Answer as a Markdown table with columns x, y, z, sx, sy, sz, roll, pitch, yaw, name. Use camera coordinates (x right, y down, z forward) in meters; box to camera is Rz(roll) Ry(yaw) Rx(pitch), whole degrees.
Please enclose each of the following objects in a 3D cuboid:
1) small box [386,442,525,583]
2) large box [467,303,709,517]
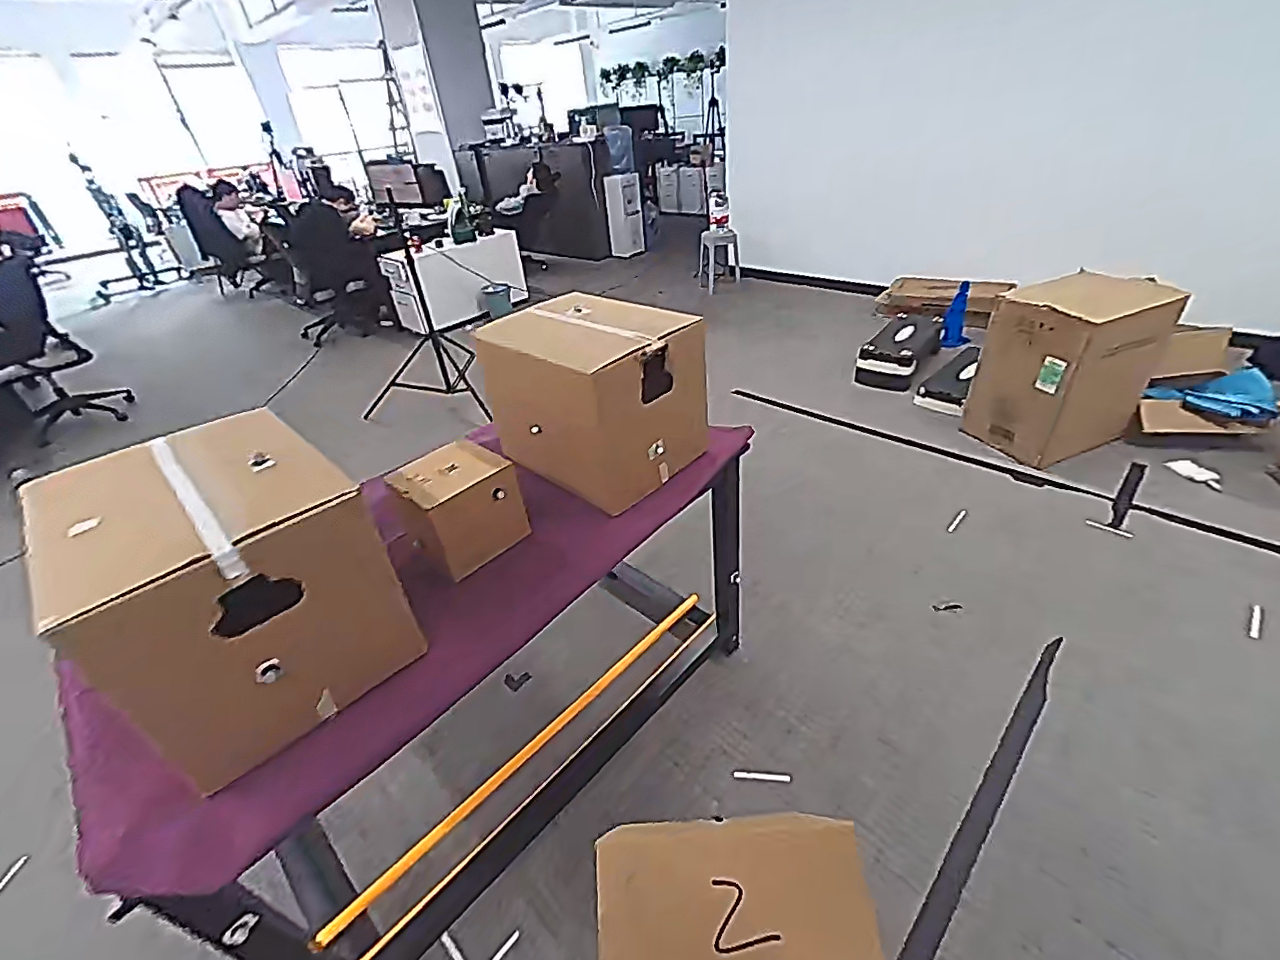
| x | y | z | sx | sy | sz | roll | pitch | yaw | name |
| --- | --- | --- | --- | --- | --- | --- | --- | --- | --- |
| -0.335 | 0.057 | 1.016 | 0.168 | 0.176 | 0.179 | 24 | 45 | 37 | small box |
| -0.102 | -0.173 | 1.190 | 0.408 | 0.320 | 0.320 | 23 | 44 | 38 | large box |
